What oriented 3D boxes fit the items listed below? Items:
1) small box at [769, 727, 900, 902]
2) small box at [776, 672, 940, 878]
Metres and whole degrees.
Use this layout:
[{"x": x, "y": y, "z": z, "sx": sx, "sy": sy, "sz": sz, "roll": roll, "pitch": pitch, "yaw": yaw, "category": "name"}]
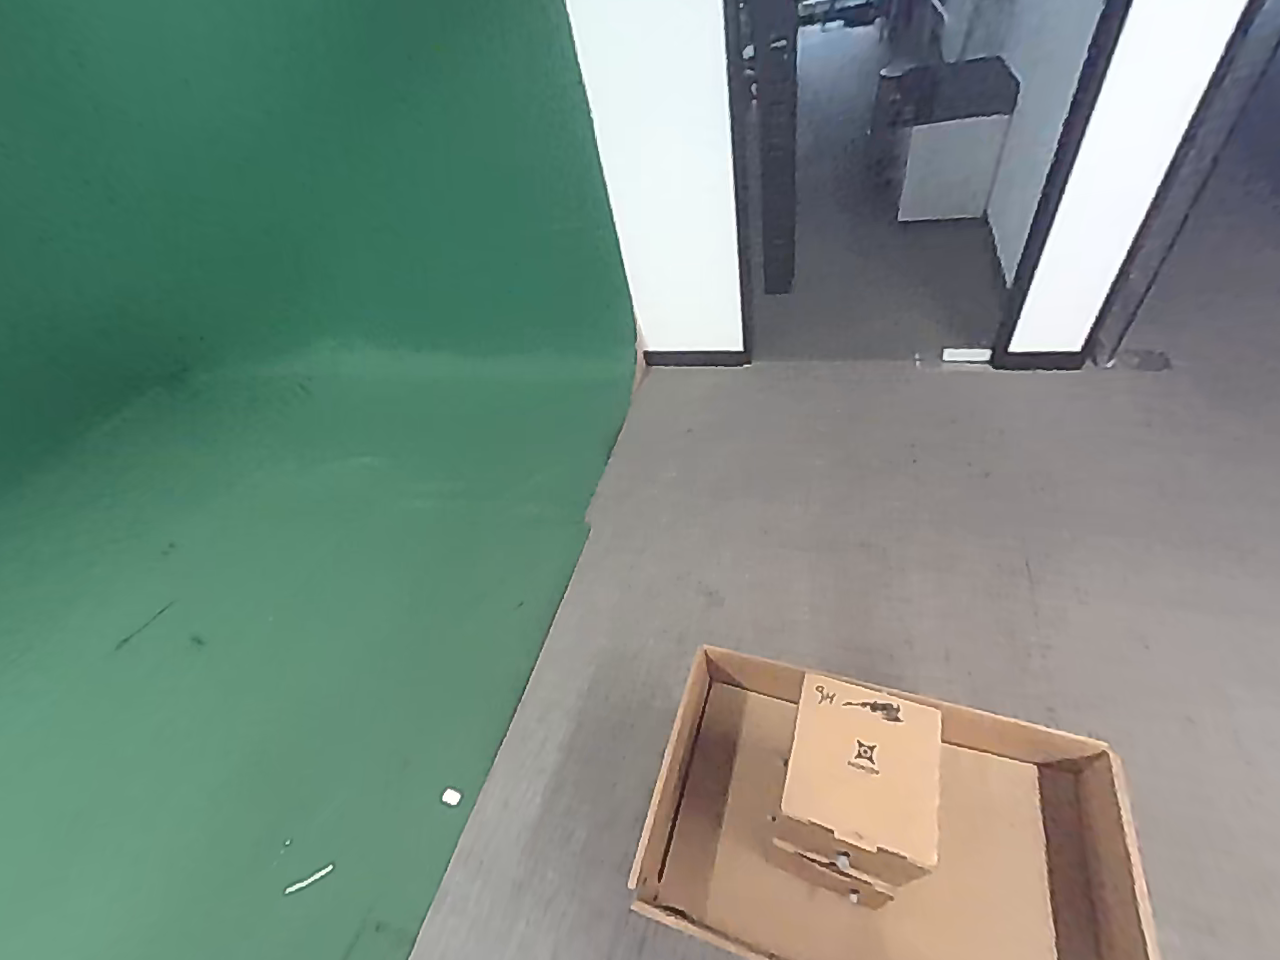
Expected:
[{"x": 0.295, "y": 0.501, "z": 0.818, "sx": 0.168, "sy": 0.176, "sz": 0.179, "roll": 11, "pitch": 50, "yaw": 20, "category": "small box"}, {"x": 0.276, "y": 0.385, "z": 0.703, "sx": 0.168, "sy": 0.176, "sz": 0.179, "roll": 11, "pitch": 52, "yaw": 19, "category": "small box"}]
